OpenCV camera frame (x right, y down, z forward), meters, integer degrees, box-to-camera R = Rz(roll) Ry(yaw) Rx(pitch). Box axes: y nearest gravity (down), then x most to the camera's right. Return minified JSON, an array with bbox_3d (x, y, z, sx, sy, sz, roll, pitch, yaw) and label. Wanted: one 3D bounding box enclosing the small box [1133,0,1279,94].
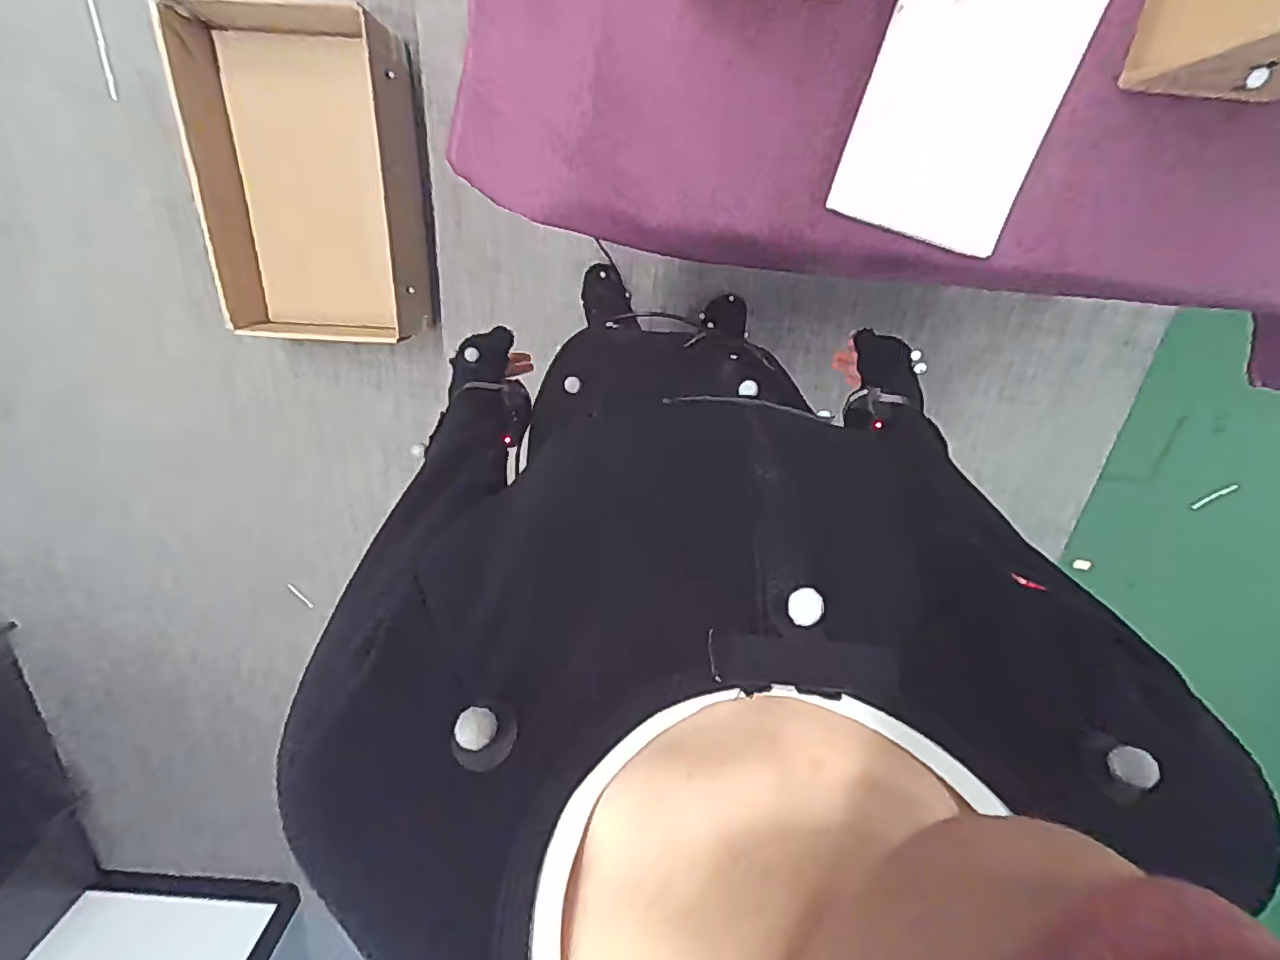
[{"bbox_3d":[0.581,-0.451,0.454,0.168,0.176,0.179,5,112,0],"label":"small box"}]
